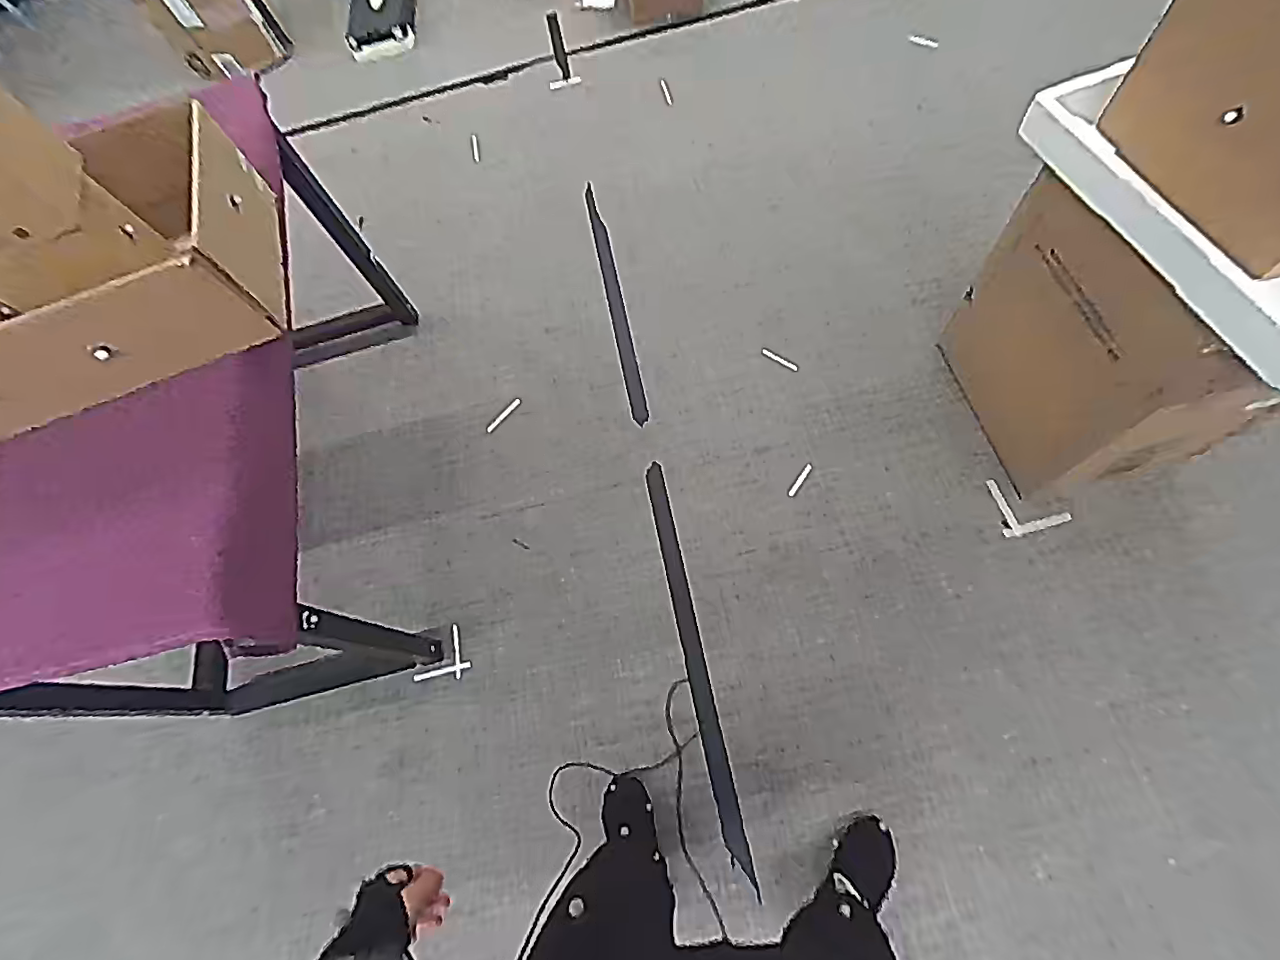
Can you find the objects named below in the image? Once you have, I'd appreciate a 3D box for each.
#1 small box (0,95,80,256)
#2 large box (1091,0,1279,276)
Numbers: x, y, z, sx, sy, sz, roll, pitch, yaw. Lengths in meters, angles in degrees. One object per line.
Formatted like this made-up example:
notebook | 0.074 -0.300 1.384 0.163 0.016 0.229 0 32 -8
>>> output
small box | -0.893 -0.415 0.705 0.168 0.176 0.179 -26 65 -2
large box | 0.995 -0.578 0.769 0.320 0.320 0.408 -17 64 -1
